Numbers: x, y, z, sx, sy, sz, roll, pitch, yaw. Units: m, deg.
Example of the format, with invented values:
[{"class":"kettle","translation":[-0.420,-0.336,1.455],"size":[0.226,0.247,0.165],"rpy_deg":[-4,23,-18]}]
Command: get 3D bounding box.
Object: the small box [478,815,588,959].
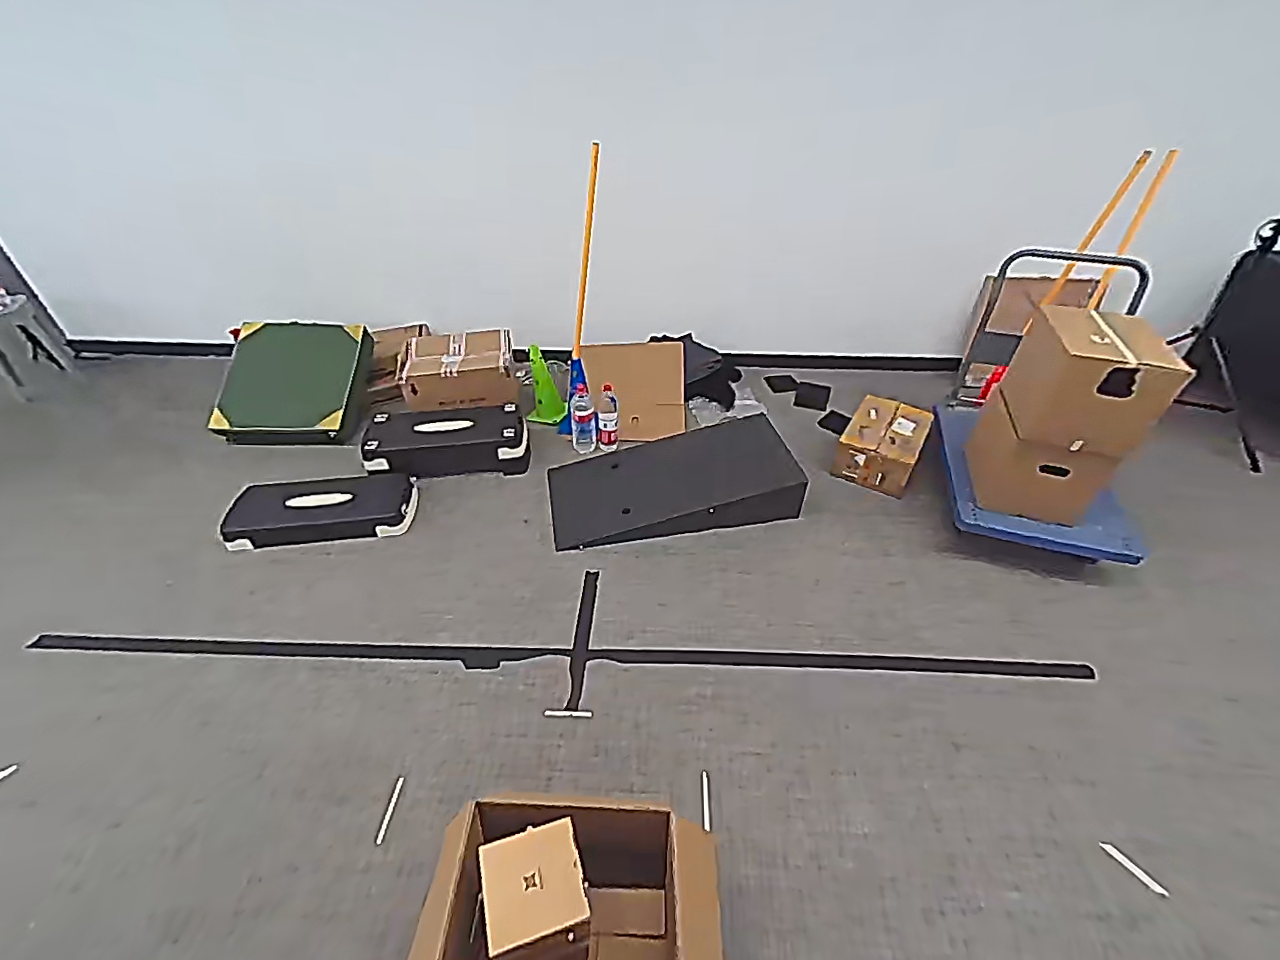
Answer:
[{"class":"small box","translation":[-0.201,0.778,1.025],"size":[0.179,0.176,0.168],"rpy_deg":[-9,43,-17]}]
